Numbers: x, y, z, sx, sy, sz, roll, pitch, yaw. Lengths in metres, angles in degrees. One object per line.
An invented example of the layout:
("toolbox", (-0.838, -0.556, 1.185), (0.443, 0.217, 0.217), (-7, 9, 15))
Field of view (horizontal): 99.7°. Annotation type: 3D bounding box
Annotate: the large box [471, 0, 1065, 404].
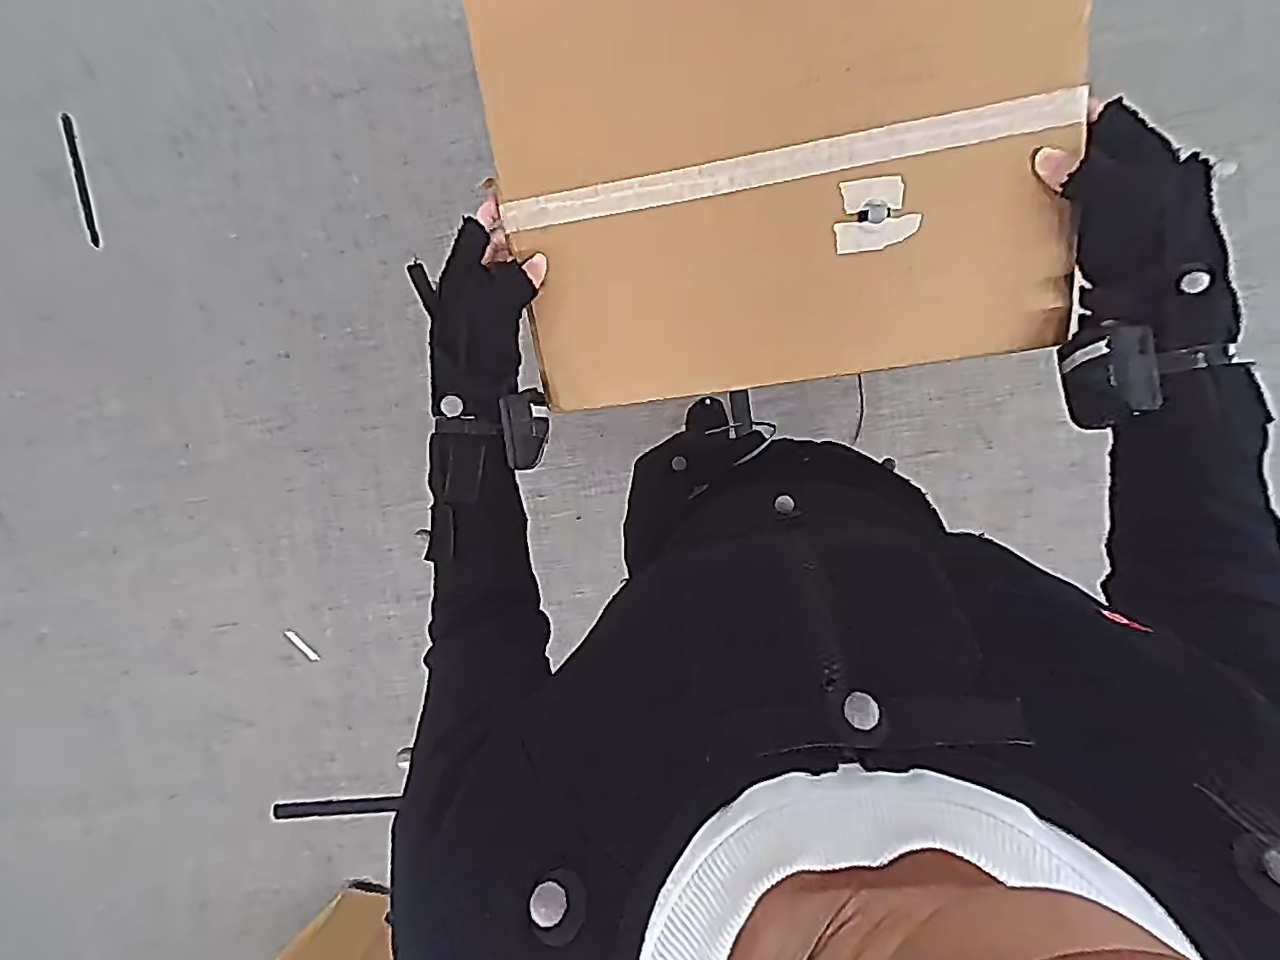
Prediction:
("large box", (0.108, -0.281, 0.545), (0.408, 0.320, 0.320), (-7, 108, 8))
